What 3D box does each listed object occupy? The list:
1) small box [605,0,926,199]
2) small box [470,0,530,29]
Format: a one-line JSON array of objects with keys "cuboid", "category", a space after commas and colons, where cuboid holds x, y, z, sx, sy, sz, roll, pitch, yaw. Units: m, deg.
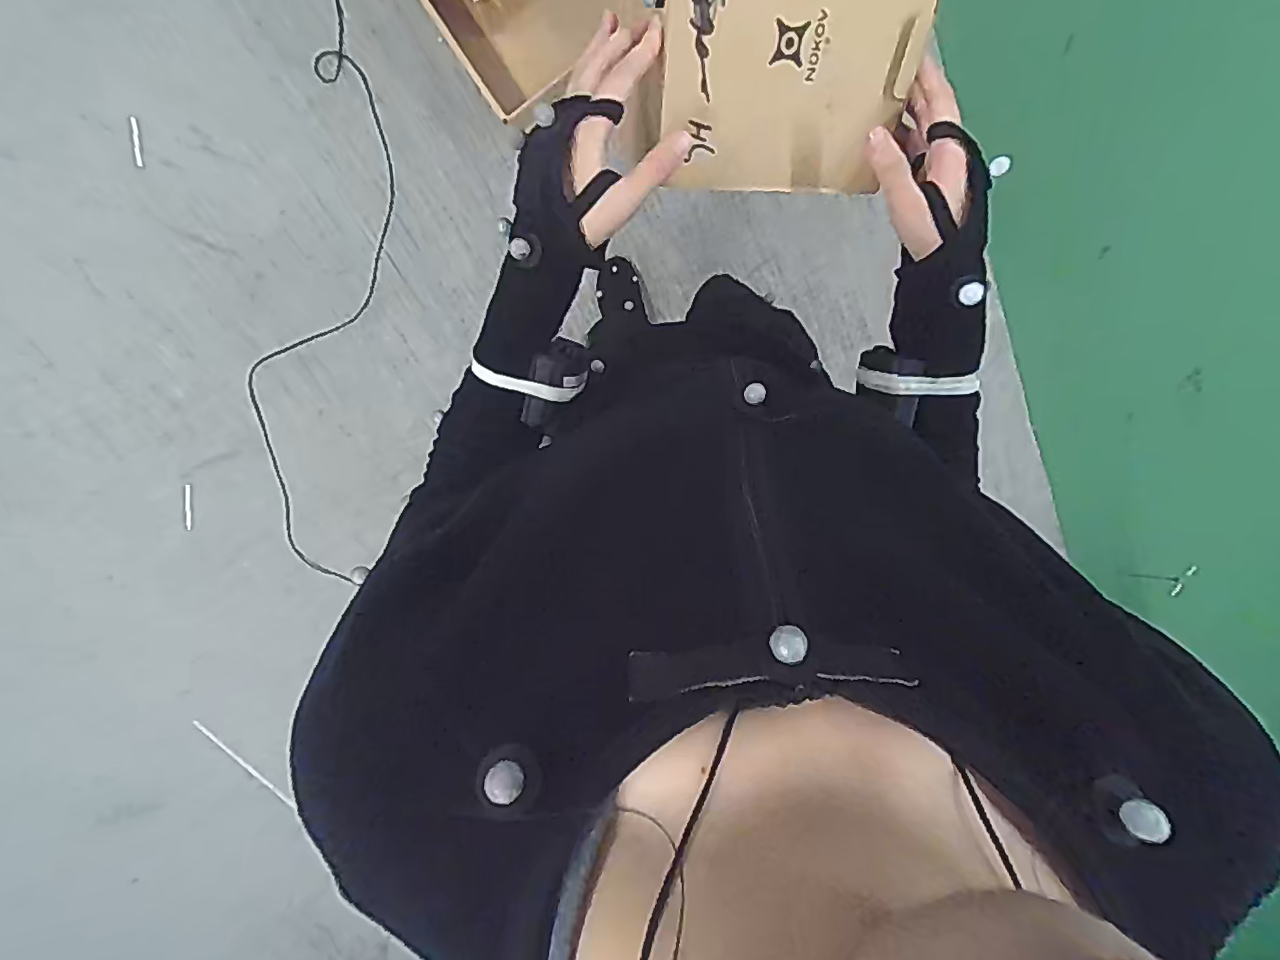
[{"cuboid": [0.077, -0.322, 0.403, 0.179, 0.176, 0.168, -4, 130, -12], "category": "small box"}, {"cuboid": [-0.276, -0.997, 1.000, 0.179, 0.176, 0.168, -33, 111, 8], "category": "small box"}]
